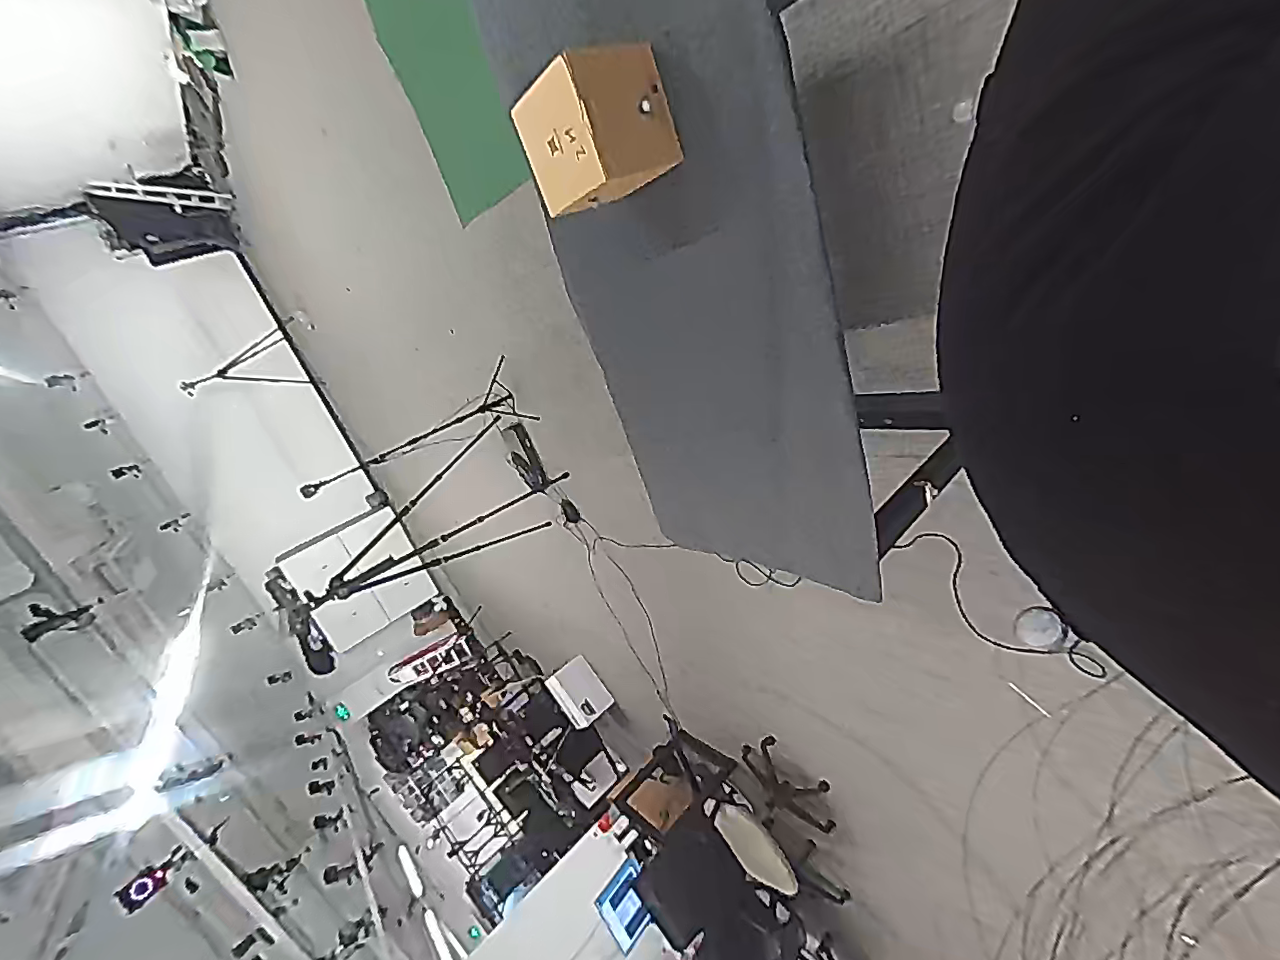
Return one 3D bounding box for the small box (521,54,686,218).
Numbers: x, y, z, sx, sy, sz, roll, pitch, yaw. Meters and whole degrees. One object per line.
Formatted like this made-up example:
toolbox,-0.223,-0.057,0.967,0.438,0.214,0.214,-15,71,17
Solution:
small box,-0.057,-0.546,0.869,0.179,0.176,0.168,6,123,53
